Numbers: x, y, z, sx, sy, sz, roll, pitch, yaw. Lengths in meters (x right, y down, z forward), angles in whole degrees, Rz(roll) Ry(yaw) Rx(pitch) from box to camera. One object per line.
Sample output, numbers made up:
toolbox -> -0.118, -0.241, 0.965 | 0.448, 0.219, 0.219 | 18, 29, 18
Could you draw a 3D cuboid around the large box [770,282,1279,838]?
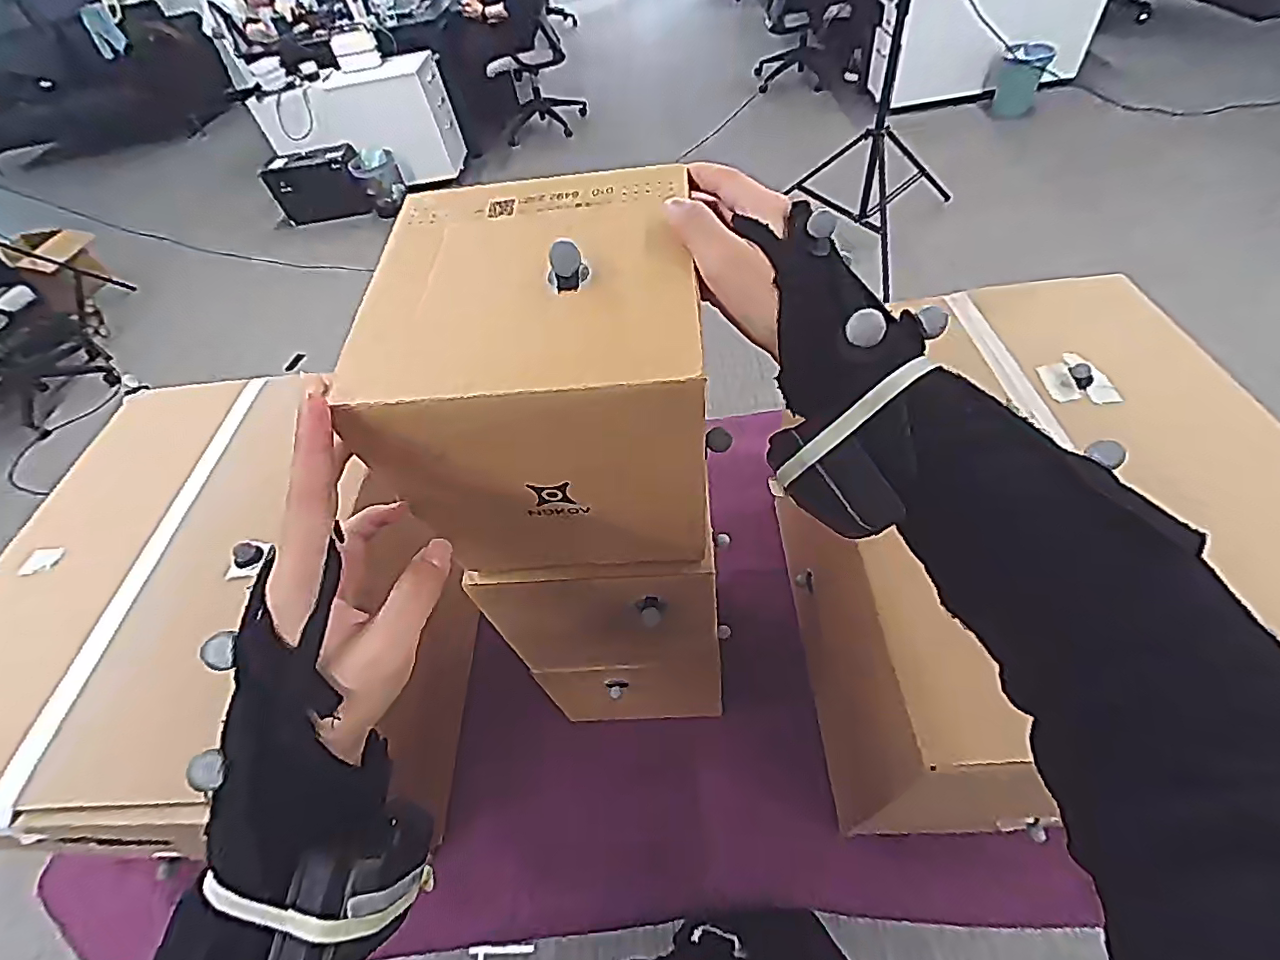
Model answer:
large box -> 0.319, 0.075, 0.514 | 0.320, 0.320, 0.408 | -6, 50, 4
